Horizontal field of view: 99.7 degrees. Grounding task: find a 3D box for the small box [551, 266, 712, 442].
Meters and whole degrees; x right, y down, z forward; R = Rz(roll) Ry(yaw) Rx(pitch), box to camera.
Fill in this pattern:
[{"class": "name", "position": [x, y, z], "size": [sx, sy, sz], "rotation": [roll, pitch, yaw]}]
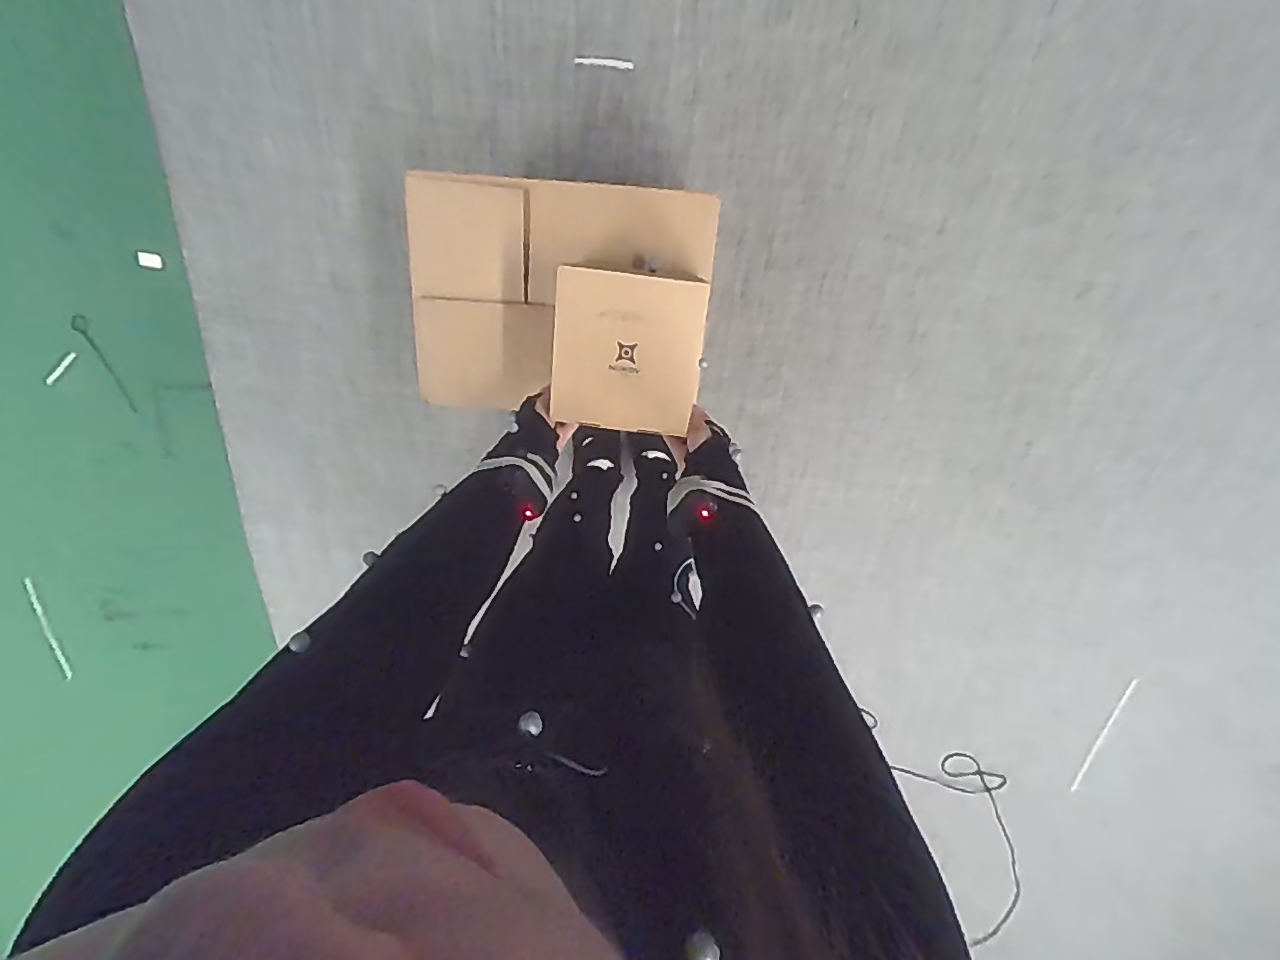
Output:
[{"class": "small box", "position": [-0.010, -0.164, 0.677], "size": [0.168, 0.176, 0.179], "rotation": [7, 112, -1]}]
